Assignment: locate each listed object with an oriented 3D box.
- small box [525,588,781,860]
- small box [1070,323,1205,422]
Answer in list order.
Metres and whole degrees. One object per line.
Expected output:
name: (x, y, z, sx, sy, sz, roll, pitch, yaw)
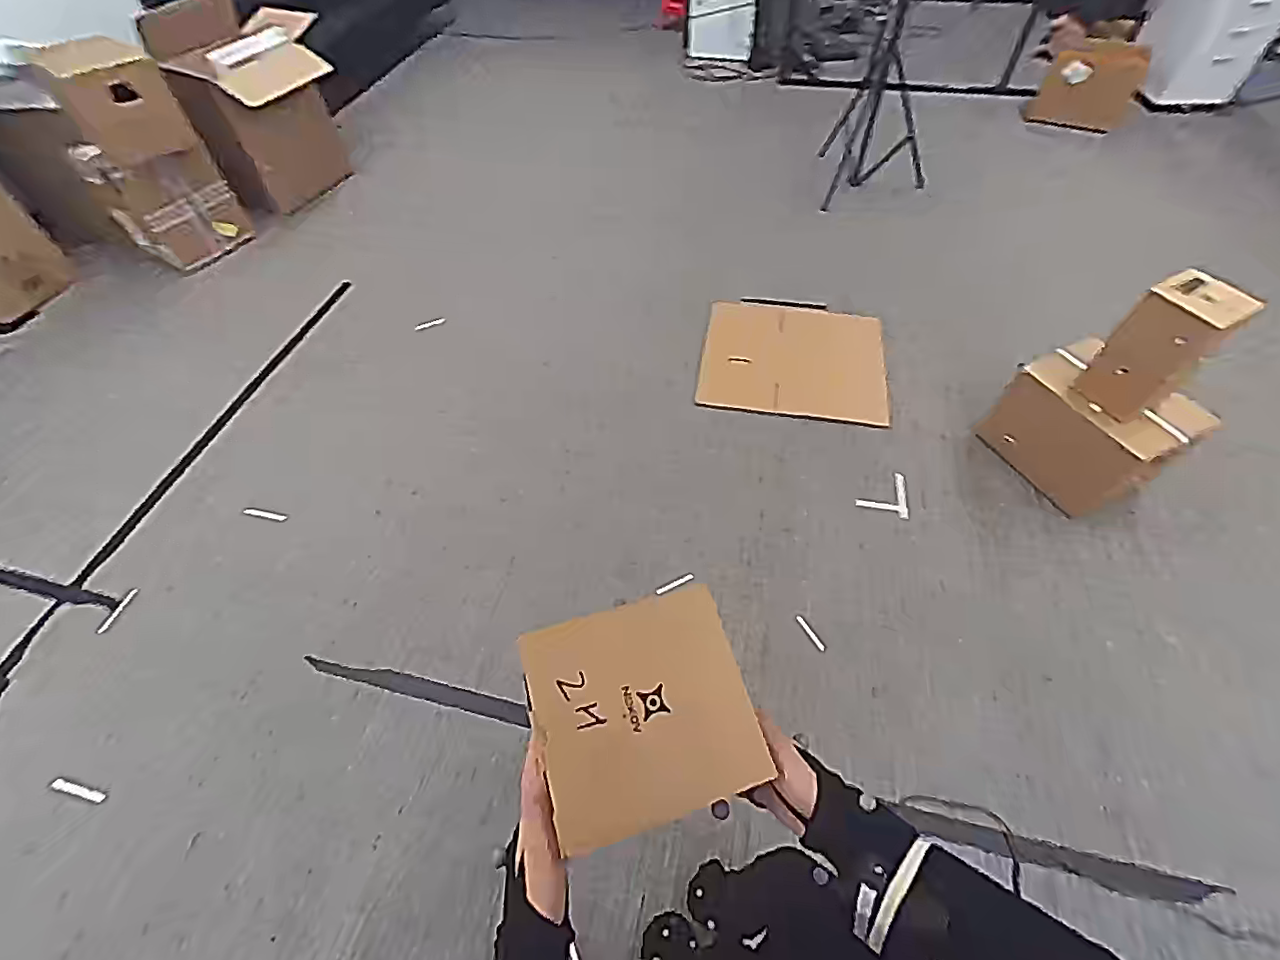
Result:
small box: (-0.001, 0.220, 0.506, 0.179, 0.176, 0.168, -13, 64, -13)
small box: (1.351, -0.293, 1.485, 0.168, 0.176, 0.179, -25, 58, -13)
